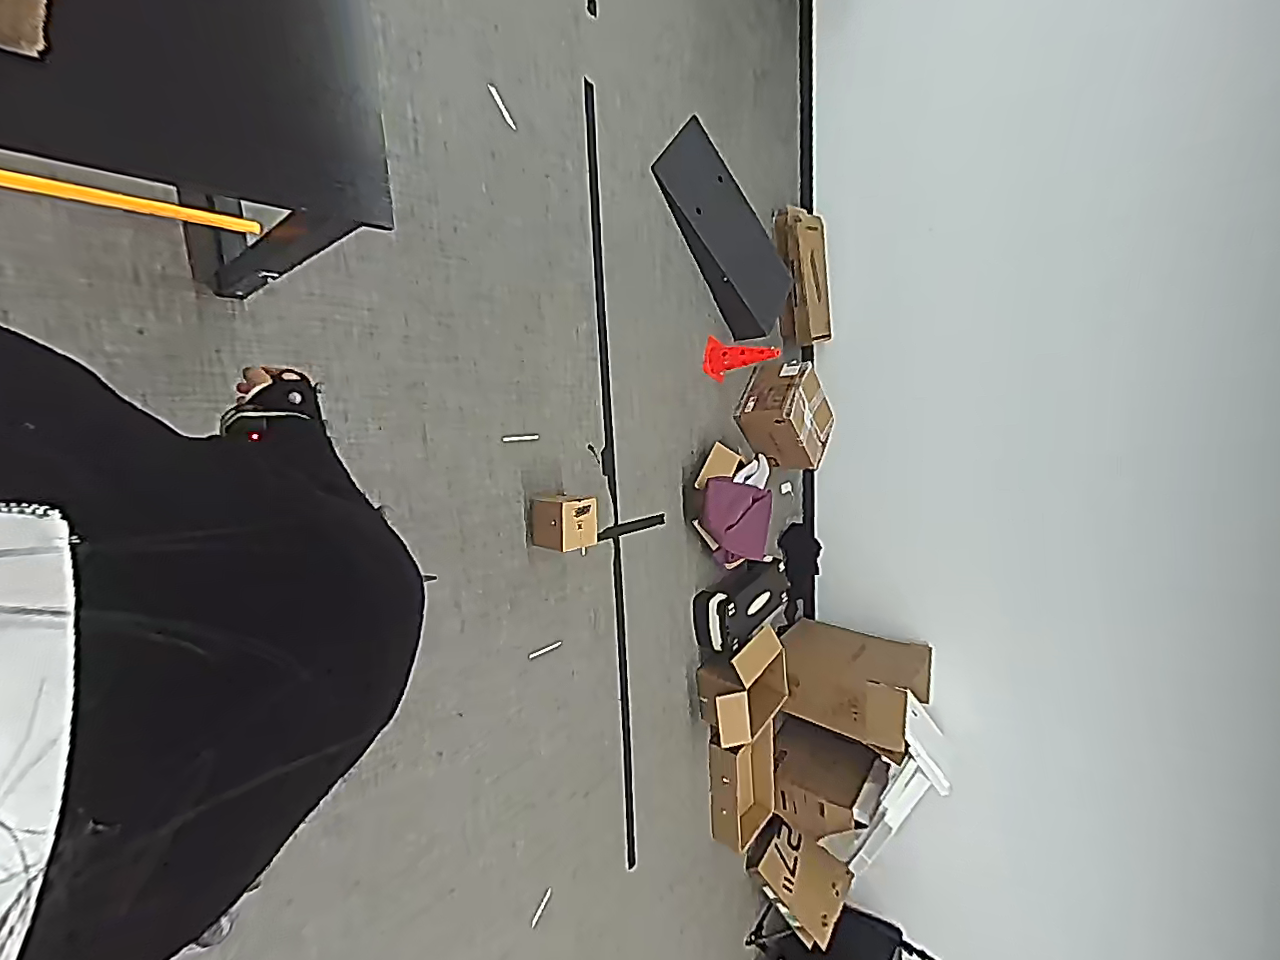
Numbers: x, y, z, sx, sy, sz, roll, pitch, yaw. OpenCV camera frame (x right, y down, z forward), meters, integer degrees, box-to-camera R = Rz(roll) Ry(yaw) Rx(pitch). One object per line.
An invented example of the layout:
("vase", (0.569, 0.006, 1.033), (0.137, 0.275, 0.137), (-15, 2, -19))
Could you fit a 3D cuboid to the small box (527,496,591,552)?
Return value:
("small box", (-0.294, 0.152, 1.958), (0.168, 0.176, 0.179), (-6, 99, -50))
